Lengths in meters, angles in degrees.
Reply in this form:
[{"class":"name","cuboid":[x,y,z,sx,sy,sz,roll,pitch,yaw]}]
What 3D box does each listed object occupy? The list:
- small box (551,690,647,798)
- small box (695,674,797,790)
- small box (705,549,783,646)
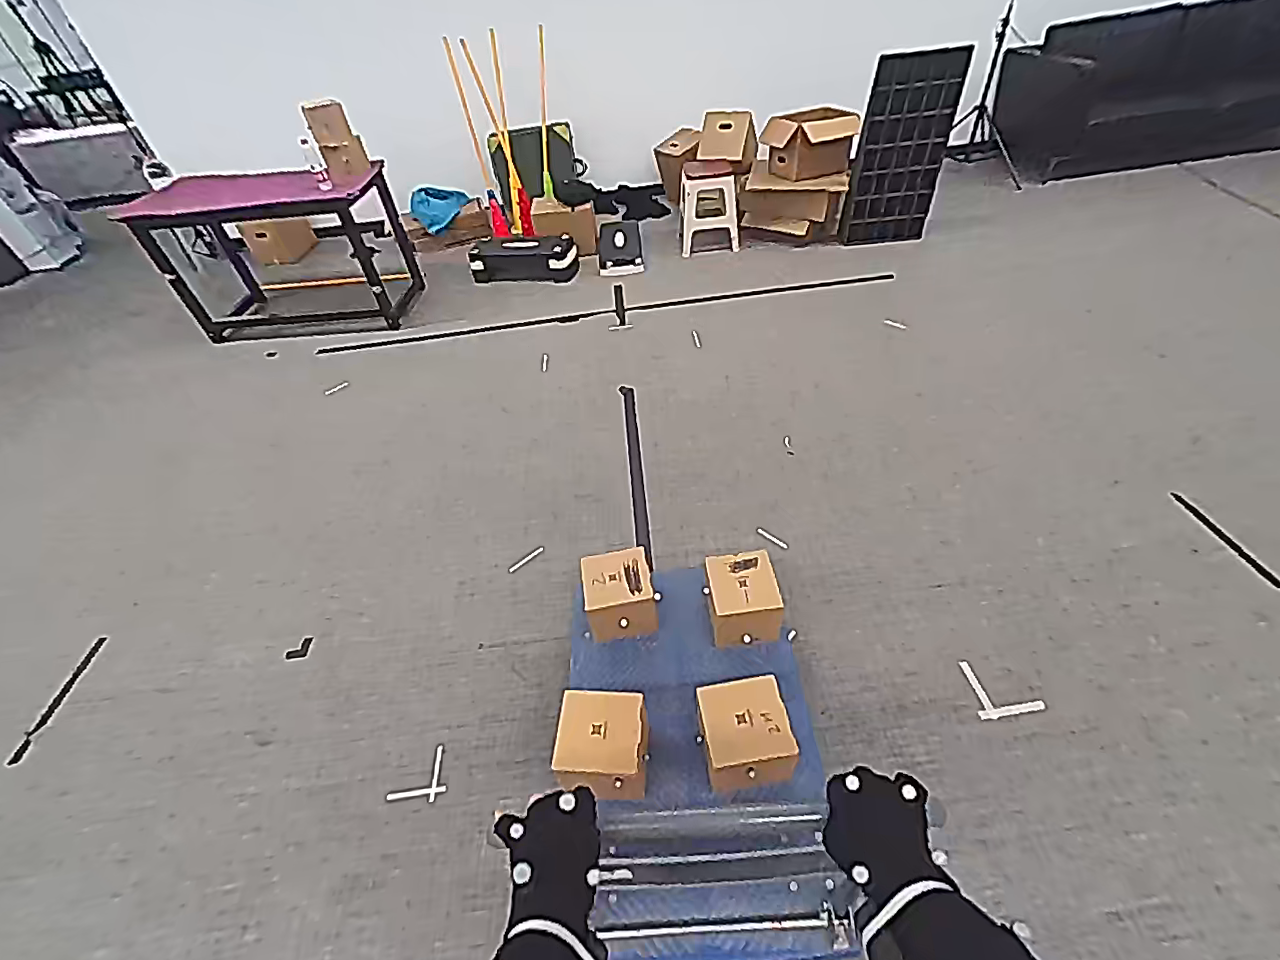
[{"class":"small box","cuboid":[-0.081,0.576,1.178,0.179,0.176,0.168,0,44,5]},{"class":"small box","cuboid":[0.222,0.547,1.167,0.179,0.176,0.168,-9,45,-2]},{"class":"small box","cuboid":[0.261,0.305,1.403,0.168,0.176,0.179,-8,46,0]}]
